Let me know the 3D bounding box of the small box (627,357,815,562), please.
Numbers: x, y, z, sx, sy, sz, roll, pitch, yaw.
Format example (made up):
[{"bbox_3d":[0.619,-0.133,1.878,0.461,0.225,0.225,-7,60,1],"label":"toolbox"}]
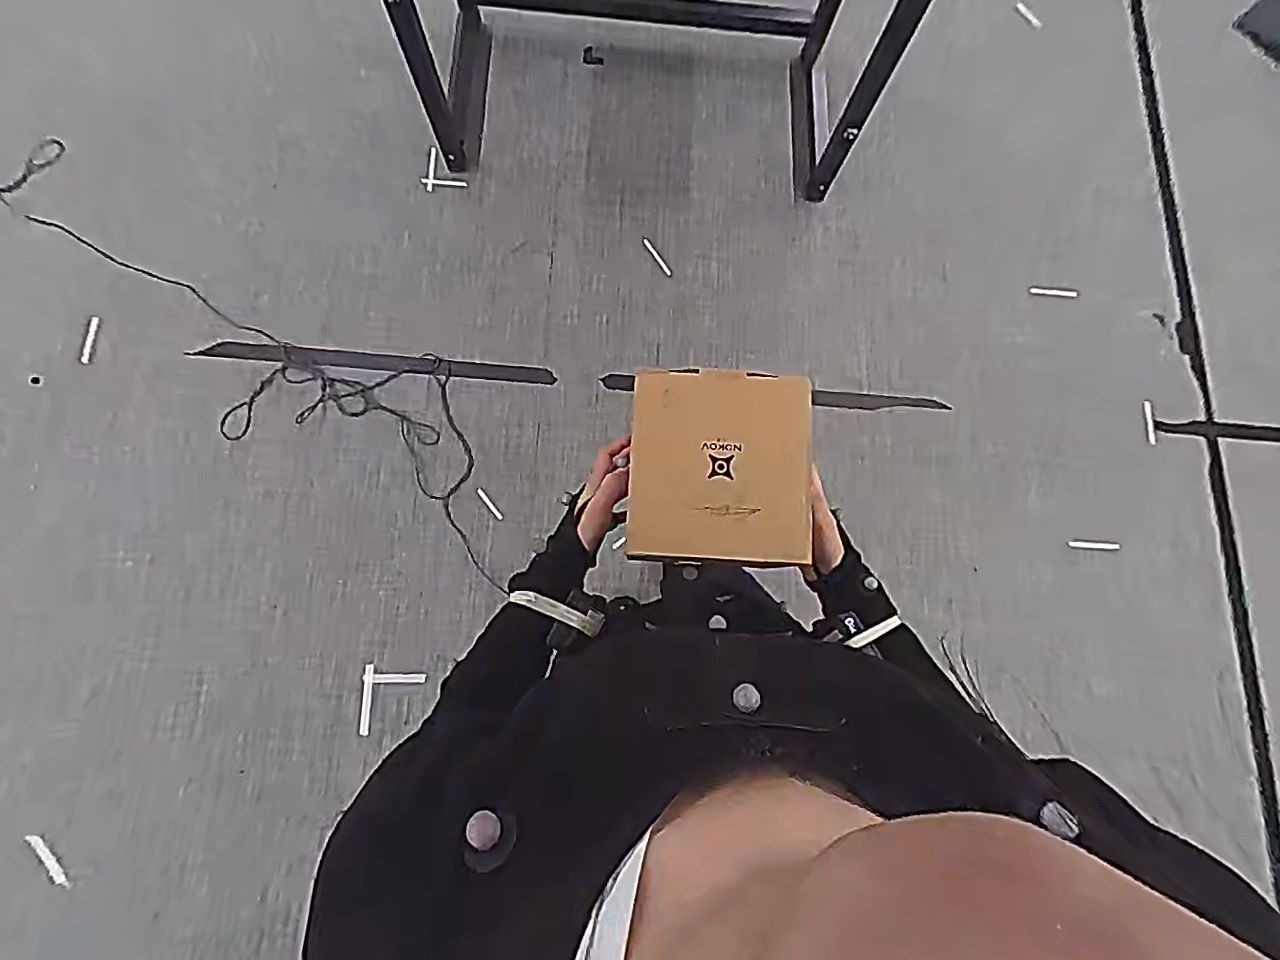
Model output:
[{"bbox_3d":[0.074,-0.010,0.564,0.168,0.176,0.179,3,80,1],"label":"small box"}]
